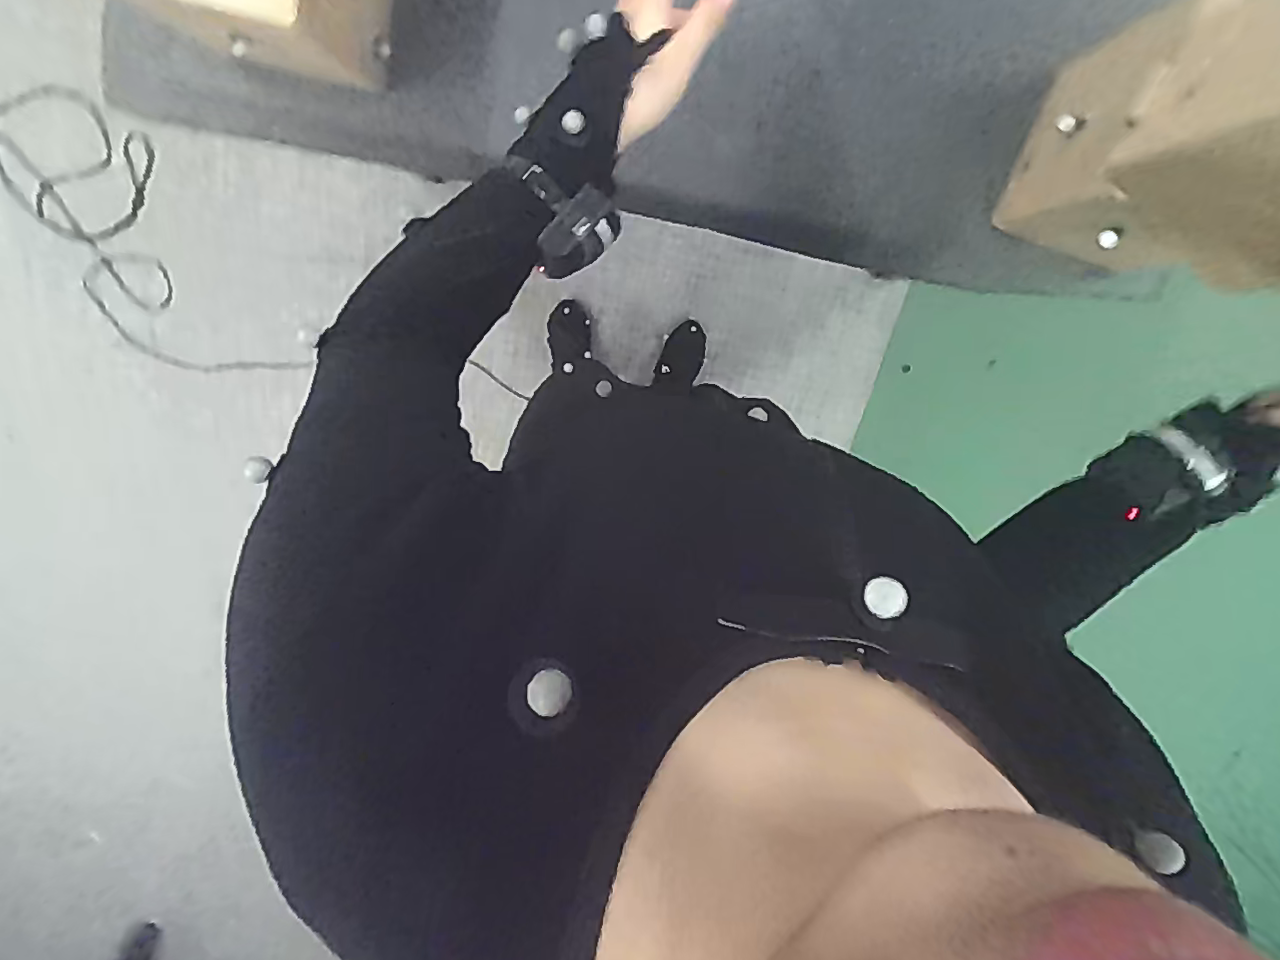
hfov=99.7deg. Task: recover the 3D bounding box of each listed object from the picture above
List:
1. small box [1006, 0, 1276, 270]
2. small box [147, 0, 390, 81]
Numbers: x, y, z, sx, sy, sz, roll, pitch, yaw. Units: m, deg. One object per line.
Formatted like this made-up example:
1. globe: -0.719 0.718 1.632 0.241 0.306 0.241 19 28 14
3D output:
1. small box: 0.519 -0.320 0.537 0.179 0.176 0.168 17 106 -5
2. small box: -0.337 -0.492 0.484 0.179 0.176 0.168 12 110 -4
